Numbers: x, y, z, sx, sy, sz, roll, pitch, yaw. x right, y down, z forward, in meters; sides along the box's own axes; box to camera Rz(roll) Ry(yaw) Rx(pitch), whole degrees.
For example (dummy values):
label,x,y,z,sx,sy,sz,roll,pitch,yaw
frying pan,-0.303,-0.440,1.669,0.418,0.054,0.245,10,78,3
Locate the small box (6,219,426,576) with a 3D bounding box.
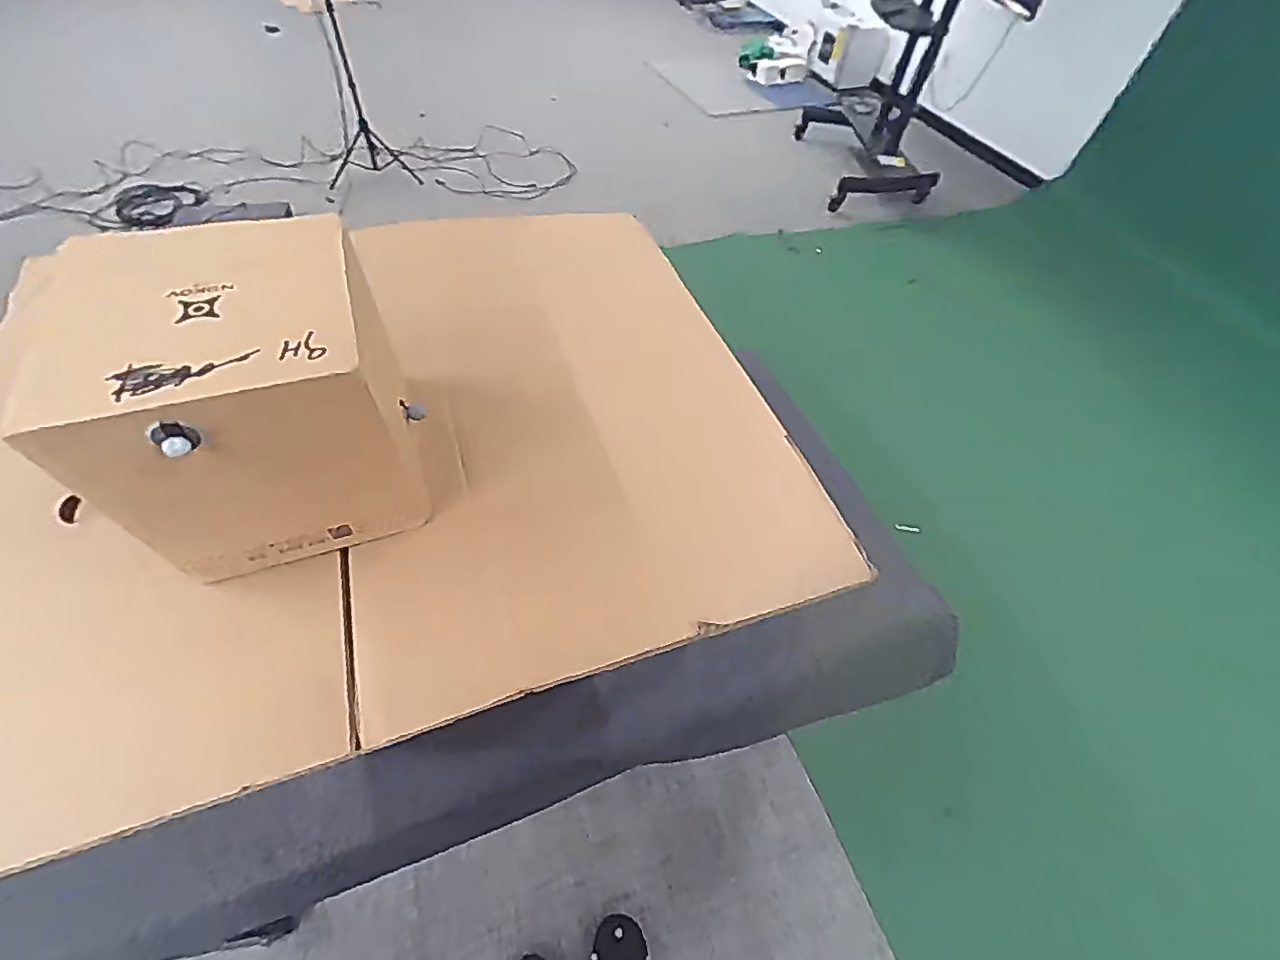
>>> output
label,x,y,z,sx,sy,sz,roll,pitch,yaw
small box,-0.271,-0.059,0.396,0.168,0.176,0.179,-16,56,-15
